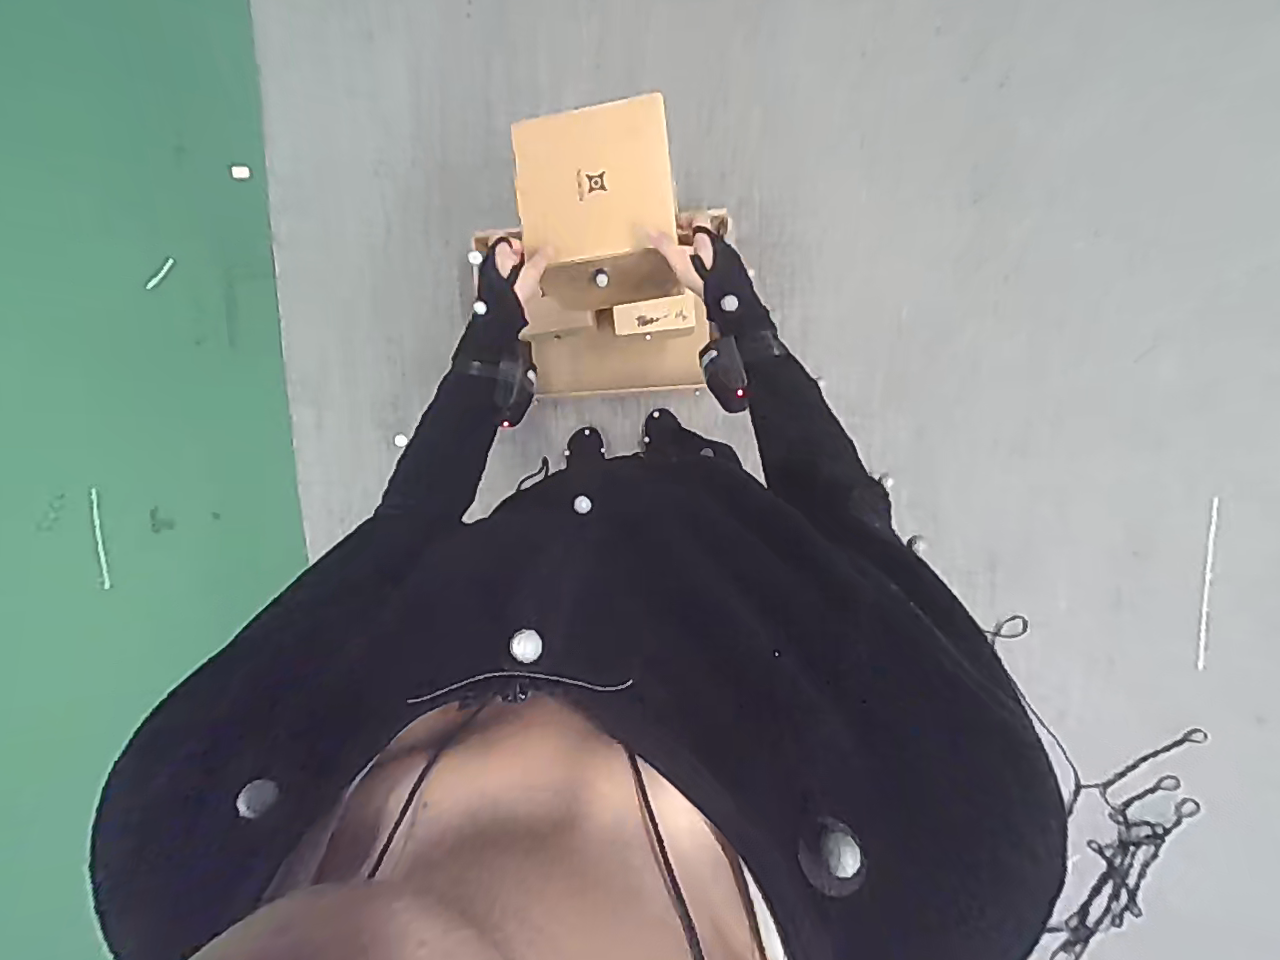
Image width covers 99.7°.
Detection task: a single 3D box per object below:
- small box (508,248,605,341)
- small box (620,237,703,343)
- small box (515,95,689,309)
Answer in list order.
[{"bbox_3d":[-0.174,-0.404,1.182,0.168,0.176,0.179,-8,99,3],"label":"small box"},{"bbox_3d":[0.045,-0.400,1.163,0.168,0.176,0.179,-5,98,6],"label":"small box"},{"bbox_3d":[-0.034,-0.325,0.670,0.179,0.176,0.168,-6,91,11],"label":"small box"}]
